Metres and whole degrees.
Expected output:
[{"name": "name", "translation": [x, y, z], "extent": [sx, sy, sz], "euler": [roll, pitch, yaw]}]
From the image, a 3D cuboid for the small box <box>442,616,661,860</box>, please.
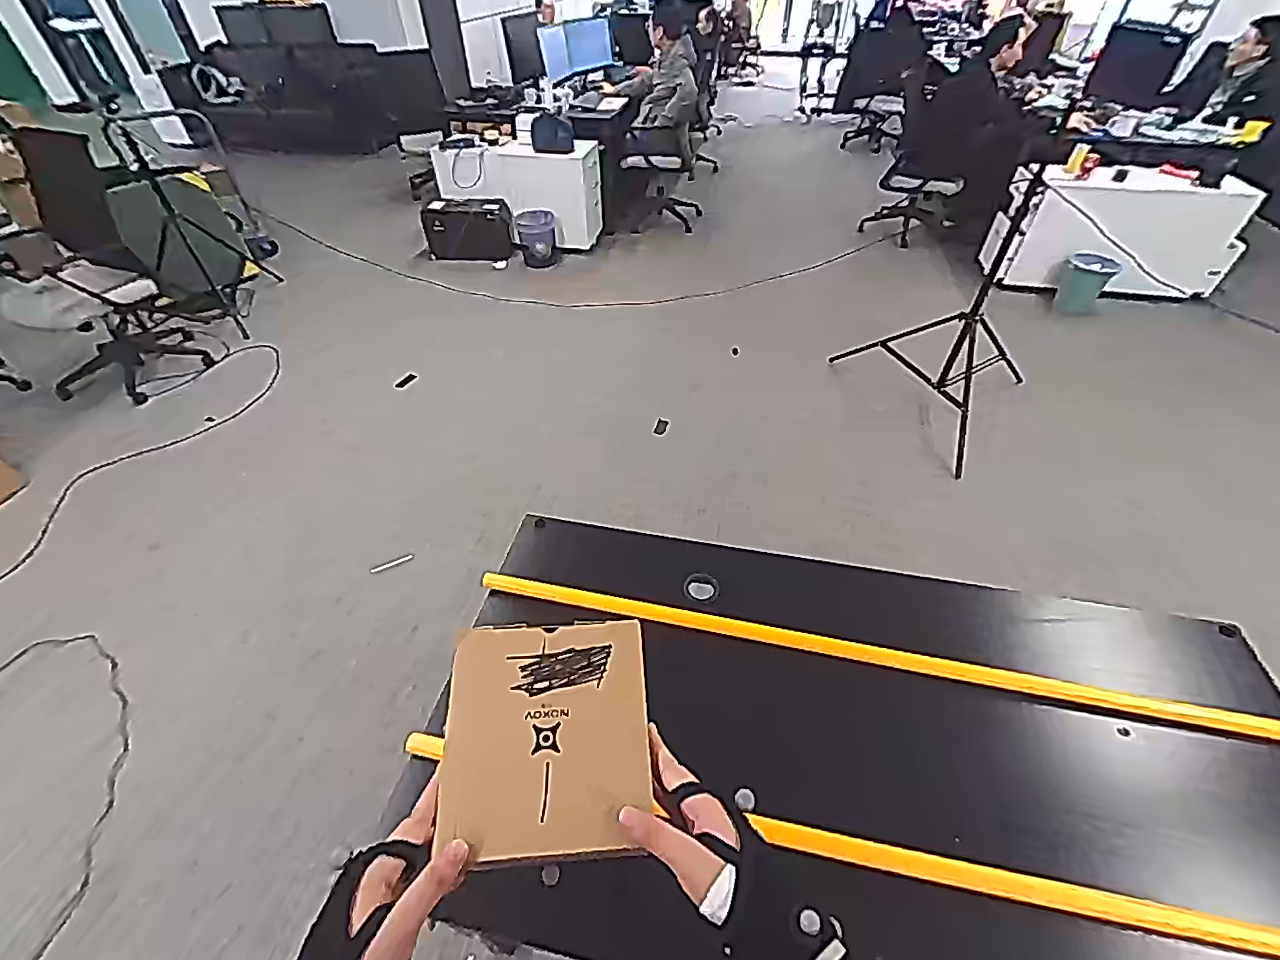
[{"name": "small box", "translation": [-0.074, 0.247, 0.514], "extent": [0.168, 0.176, 0.179], "euler": [-2, 54, -4]}]
